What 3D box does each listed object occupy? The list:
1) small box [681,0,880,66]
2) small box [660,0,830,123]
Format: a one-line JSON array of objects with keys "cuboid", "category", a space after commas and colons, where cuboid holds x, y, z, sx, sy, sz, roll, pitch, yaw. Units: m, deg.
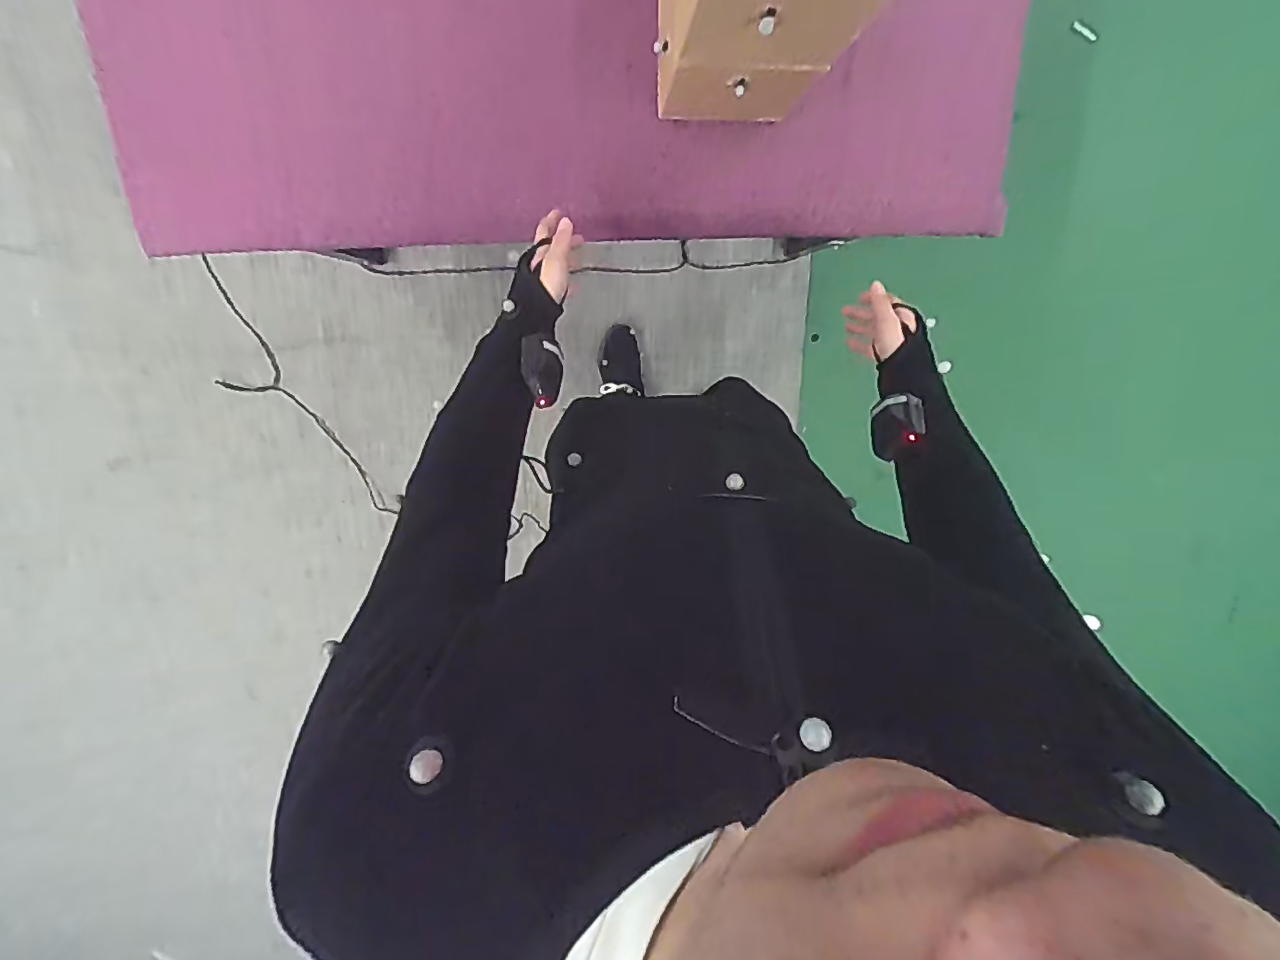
[{"cuboid": [0.132, -0.504, 0.488, 0.179, 0.176, 0.168, -2, 108, -3], "category": "small box"}, {"cuboid": [0.118, -0.548, 0.644, 0.179, 0.176, 0.168, -1, 107, -5], "category": "small box"}]
